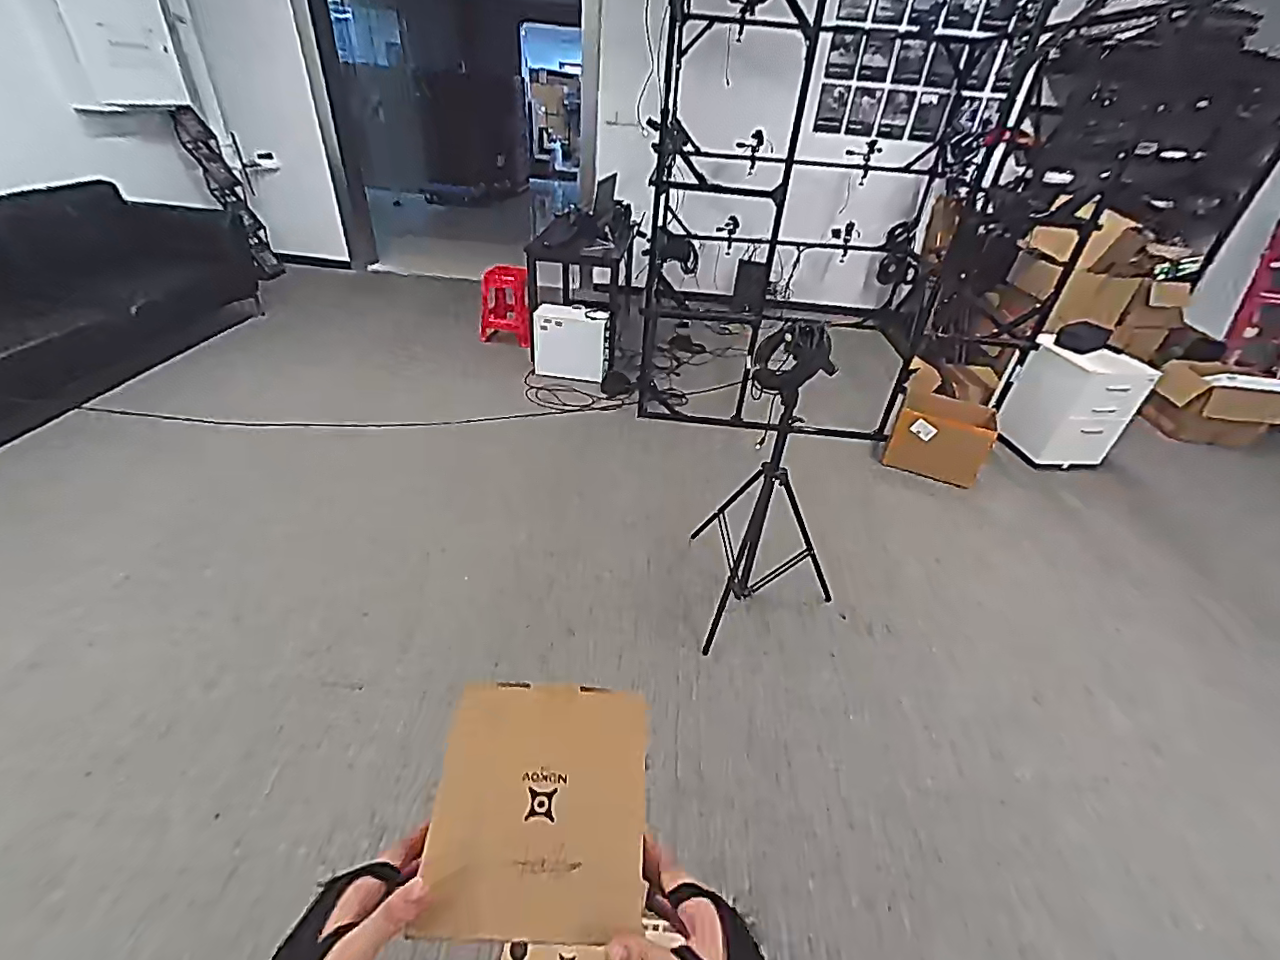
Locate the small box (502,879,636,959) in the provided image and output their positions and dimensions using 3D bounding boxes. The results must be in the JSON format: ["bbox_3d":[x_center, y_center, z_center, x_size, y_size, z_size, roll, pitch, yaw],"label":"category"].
[{"bbox_3d":[-0.098,0.675,0.724,0.168,0.176,0.179,5,37,2],"label":"small box"}]
